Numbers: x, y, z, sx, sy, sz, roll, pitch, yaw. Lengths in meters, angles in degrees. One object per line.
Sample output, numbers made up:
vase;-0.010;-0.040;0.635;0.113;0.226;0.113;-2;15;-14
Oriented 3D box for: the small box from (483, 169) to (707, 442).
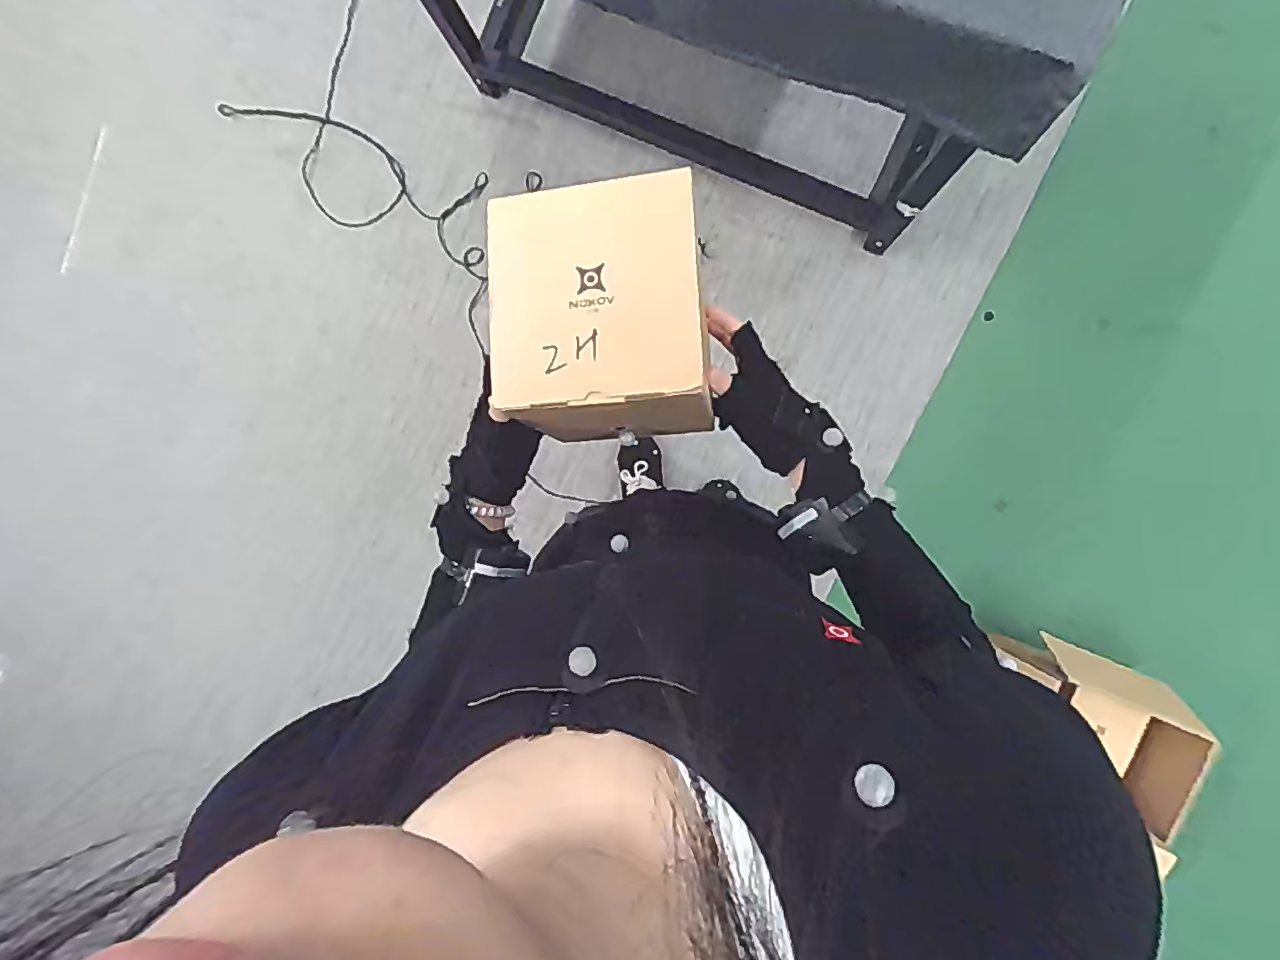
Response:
small box;-0.029;-0.138;0.490;0.168;0.176;0.179;-3;85;10
